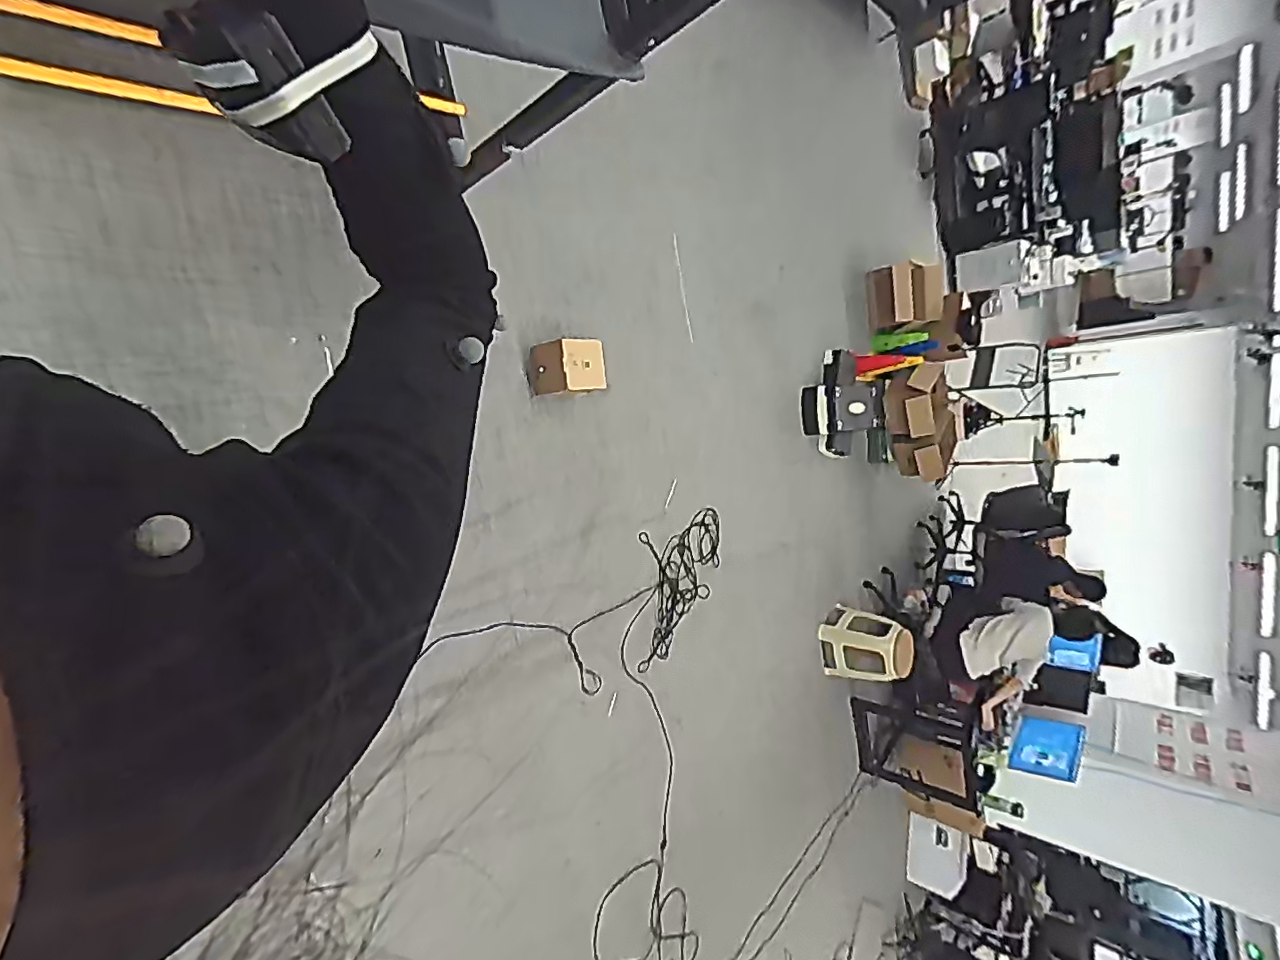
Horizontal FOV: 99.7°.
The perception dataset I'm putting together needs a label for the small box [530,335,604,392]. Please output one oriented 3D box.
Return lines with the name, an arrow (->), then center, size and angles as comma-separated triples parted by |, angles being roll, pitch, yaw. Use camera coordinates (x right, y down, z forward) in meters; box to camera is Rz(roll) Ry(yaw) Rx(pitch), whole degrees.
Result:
small box -> -0.248, -0.391, 1.836 | 0.179, 0.176, 0.168 | -13, 99, -45
